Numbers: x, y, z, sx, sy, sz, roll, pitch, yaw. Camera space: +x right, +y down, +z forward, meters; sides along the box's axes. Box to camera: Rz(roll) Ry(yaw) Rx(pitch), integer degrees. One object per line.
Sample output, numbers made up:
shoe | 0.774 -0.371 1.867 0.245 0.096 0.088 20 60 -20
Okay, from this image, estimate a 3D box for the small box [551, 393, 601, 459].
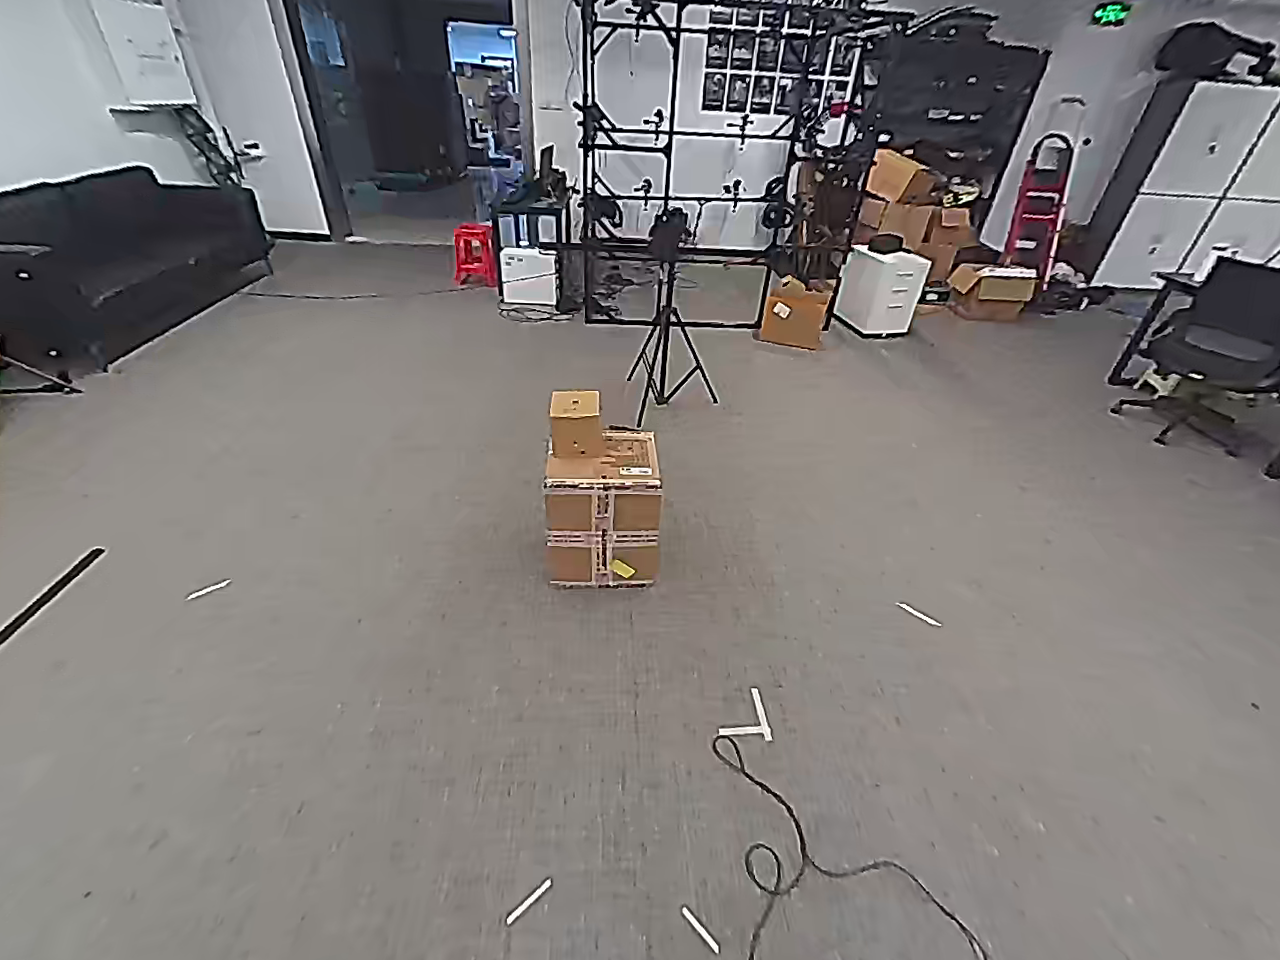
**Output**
small box | -0.223 -0.192 1.912 0.168 0.176 0.179 -1 39 -3
